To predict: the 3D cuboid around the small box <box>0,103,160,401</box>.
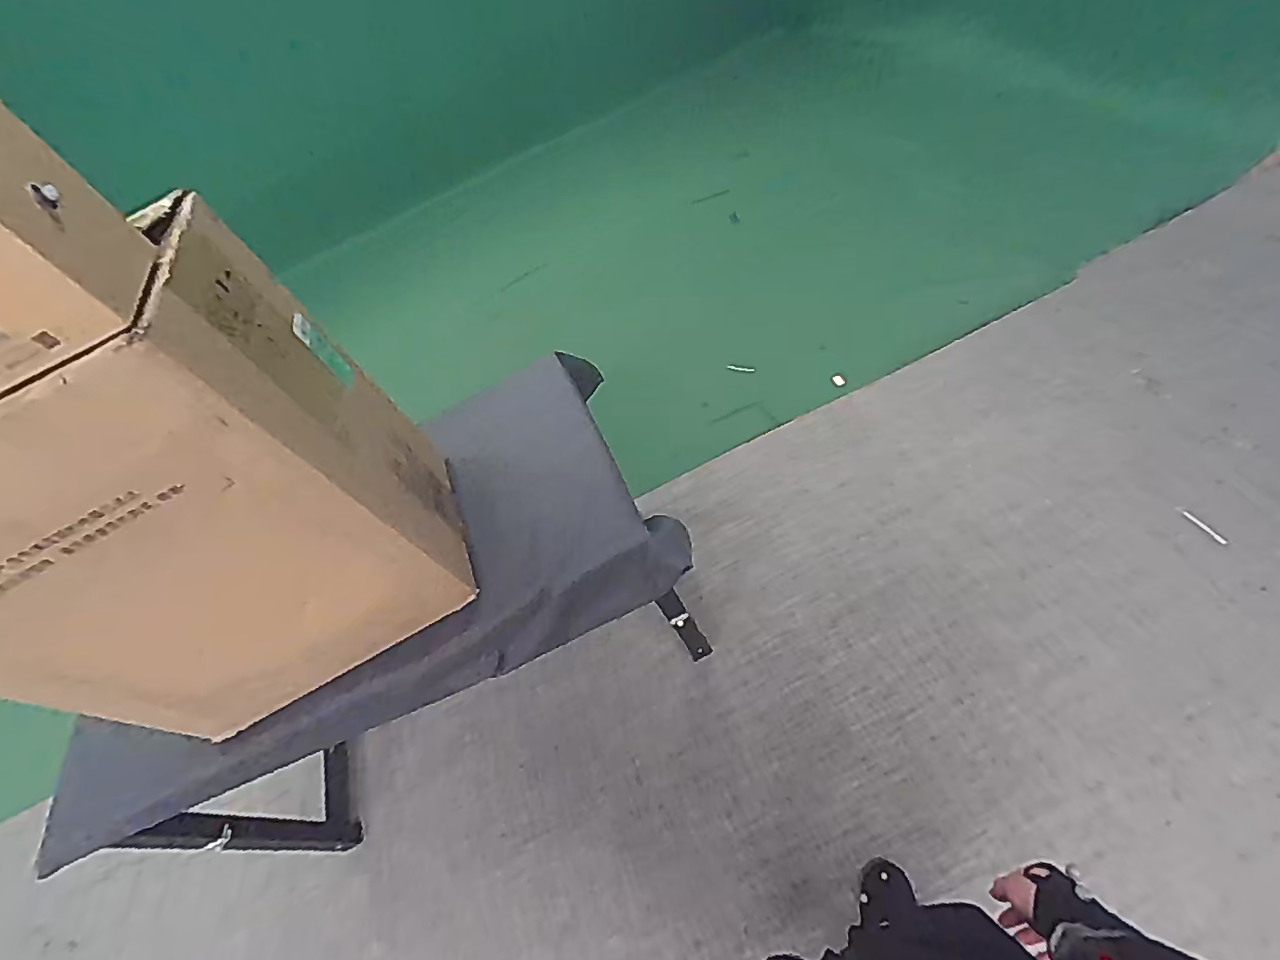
[{"bbox_3d":[-0.592,-0.200,0.488,0.168,0.176,0.179,-29,52,-2],"label":"small box"}]
